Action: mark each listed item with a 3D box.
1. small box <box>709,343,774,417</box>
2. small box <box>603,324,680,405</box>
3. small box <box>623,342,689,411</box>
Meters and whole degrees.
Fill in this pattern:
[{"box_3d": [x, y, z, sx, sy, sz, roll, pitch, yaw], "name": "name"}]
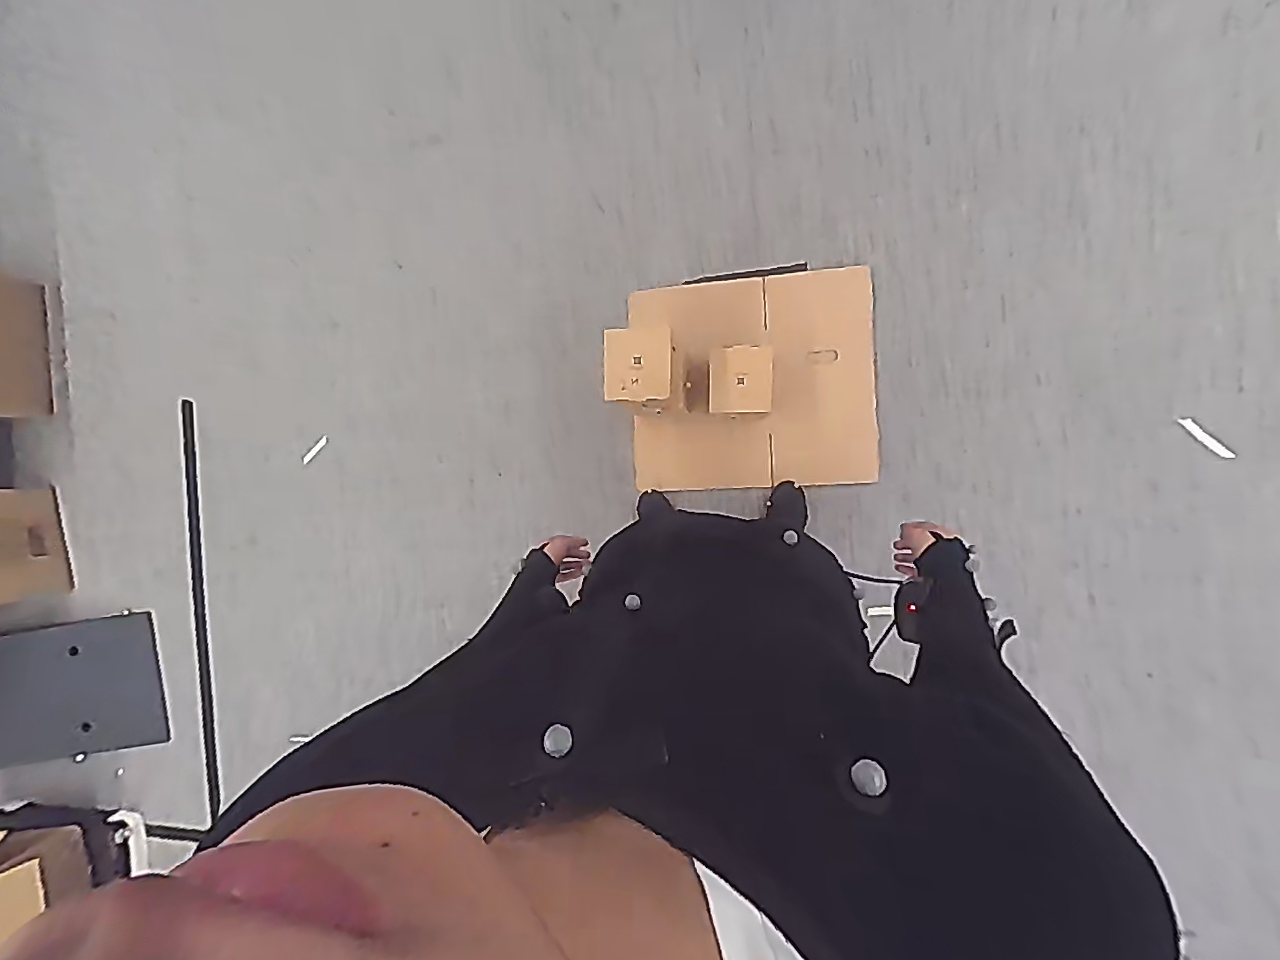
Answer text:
[{"box_3d": [0.276, -0.270, 1.485, 0.168, 0.176, 0.179, 1, 92, 10], "name": "small box"}, {"box_3d": [0.008, -0.286, 1.368, 0.168, 0.176, 0.179, 1, 92, 12], "name": "small box"}, {"box_3d": [0.050, -0.285, 1.528, 0.168, 0.176, 0.179, 0, 93, 11], "name": "small box"}]
